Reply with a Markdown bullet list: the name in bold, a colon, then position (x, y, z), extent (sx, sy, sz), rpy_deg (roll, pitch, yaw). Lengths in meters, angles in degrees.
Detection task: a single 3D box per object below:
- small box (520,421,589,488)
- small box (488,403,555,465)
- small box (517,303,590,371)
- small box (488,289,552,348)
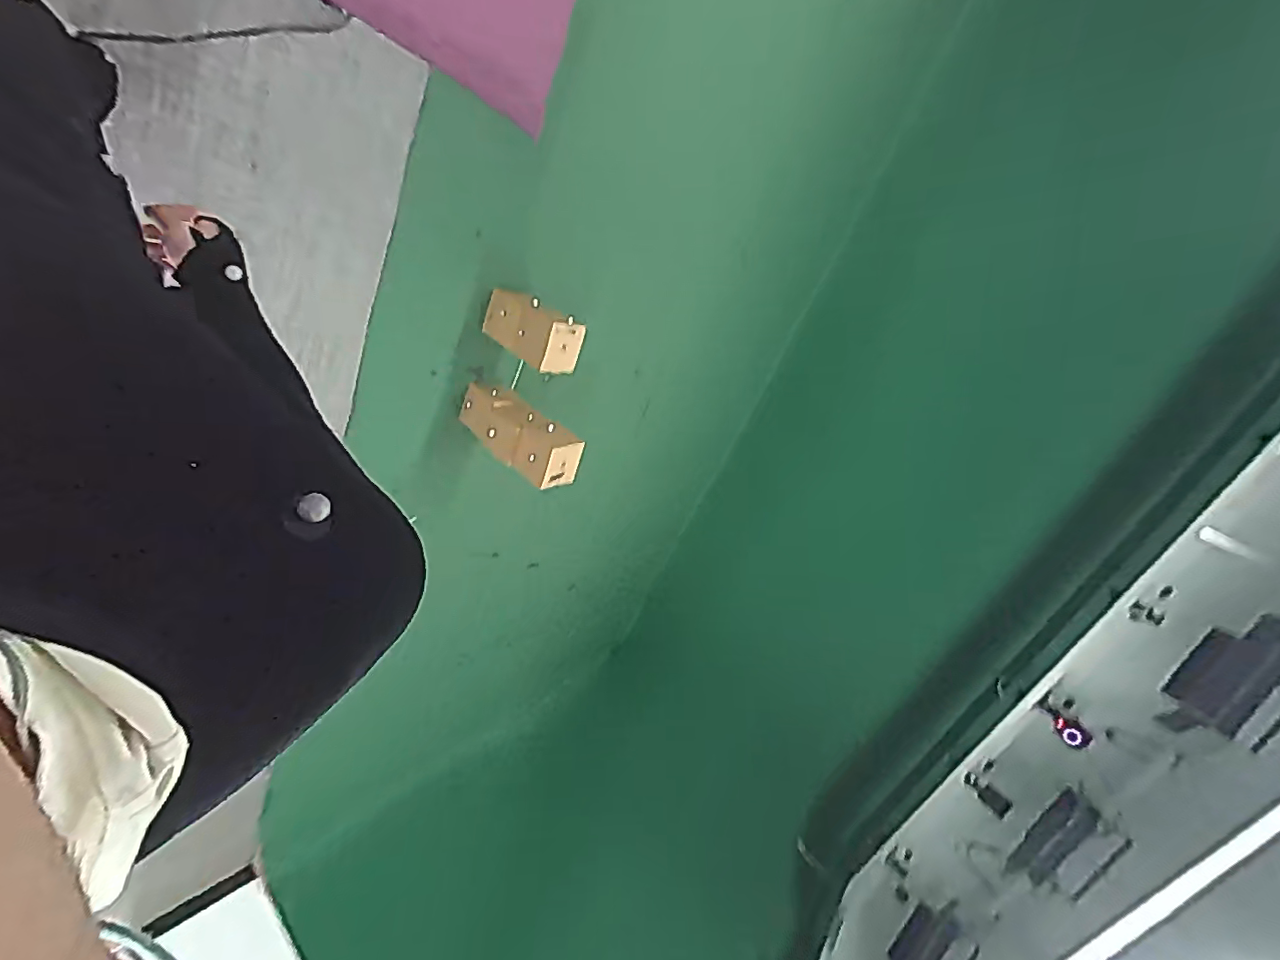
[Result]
- **small box**: position (-0.323, -0.099, 2.000), extent (0.168, 0.176, 0.179), rpy_deg (-16, 135, -49)
- **small box**: position (-0.451, -0.184, 2.063), extent (0.179, 0.176, 0.168), rpy_deg (-18, 137, -47)
- **small box**: position (-0.310, -0.503, 1.908), extent (0.168, 0.176, 0.179), rpy_deg (-14, 134, -52)
- **small box**: position (-0.429, -0.586, 1.983), extent (0.179, 0.176, 0.168), rpy_deg (-11, 131, -54)
